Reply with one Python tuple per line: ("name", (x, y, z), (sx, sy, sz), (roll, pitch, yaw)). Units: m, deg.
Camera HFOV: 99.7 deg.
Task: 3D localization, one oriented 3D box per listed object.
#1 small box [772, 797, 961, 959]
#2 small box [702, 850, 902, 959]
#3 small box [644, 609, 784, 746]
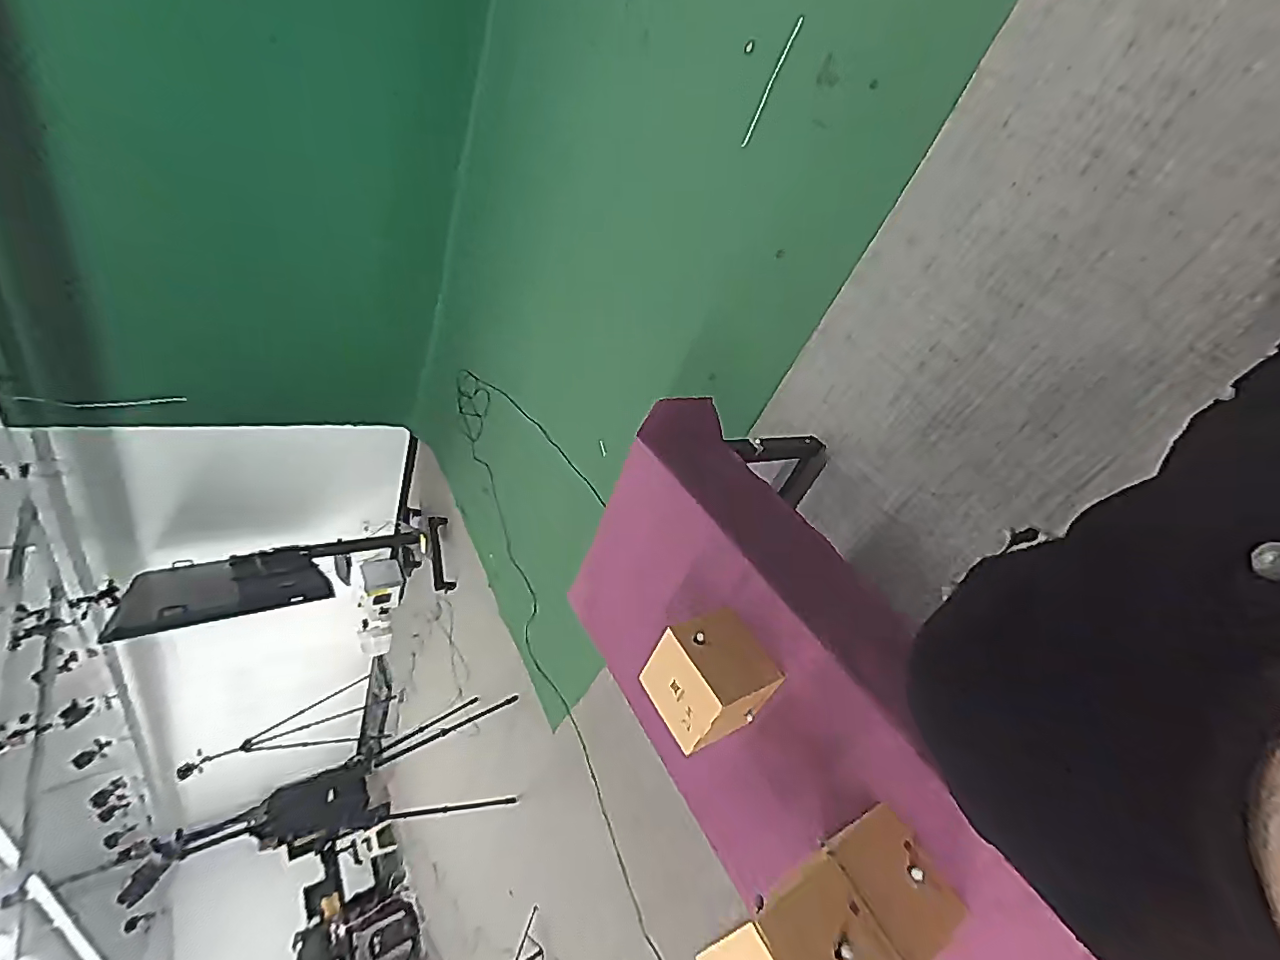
("small box", (0.346, 0.630, 0.829), (0.168, 0.176, 0.179), (52, 131, 34))
("small box", (0.221, 0.640, 0.722), (0.168, 0.176, 0.179), (53, 132, 34))
("small box", (0.142, 0.372, 1.055), (0.179, 0.176, 0.168), (51, 132, 35))
